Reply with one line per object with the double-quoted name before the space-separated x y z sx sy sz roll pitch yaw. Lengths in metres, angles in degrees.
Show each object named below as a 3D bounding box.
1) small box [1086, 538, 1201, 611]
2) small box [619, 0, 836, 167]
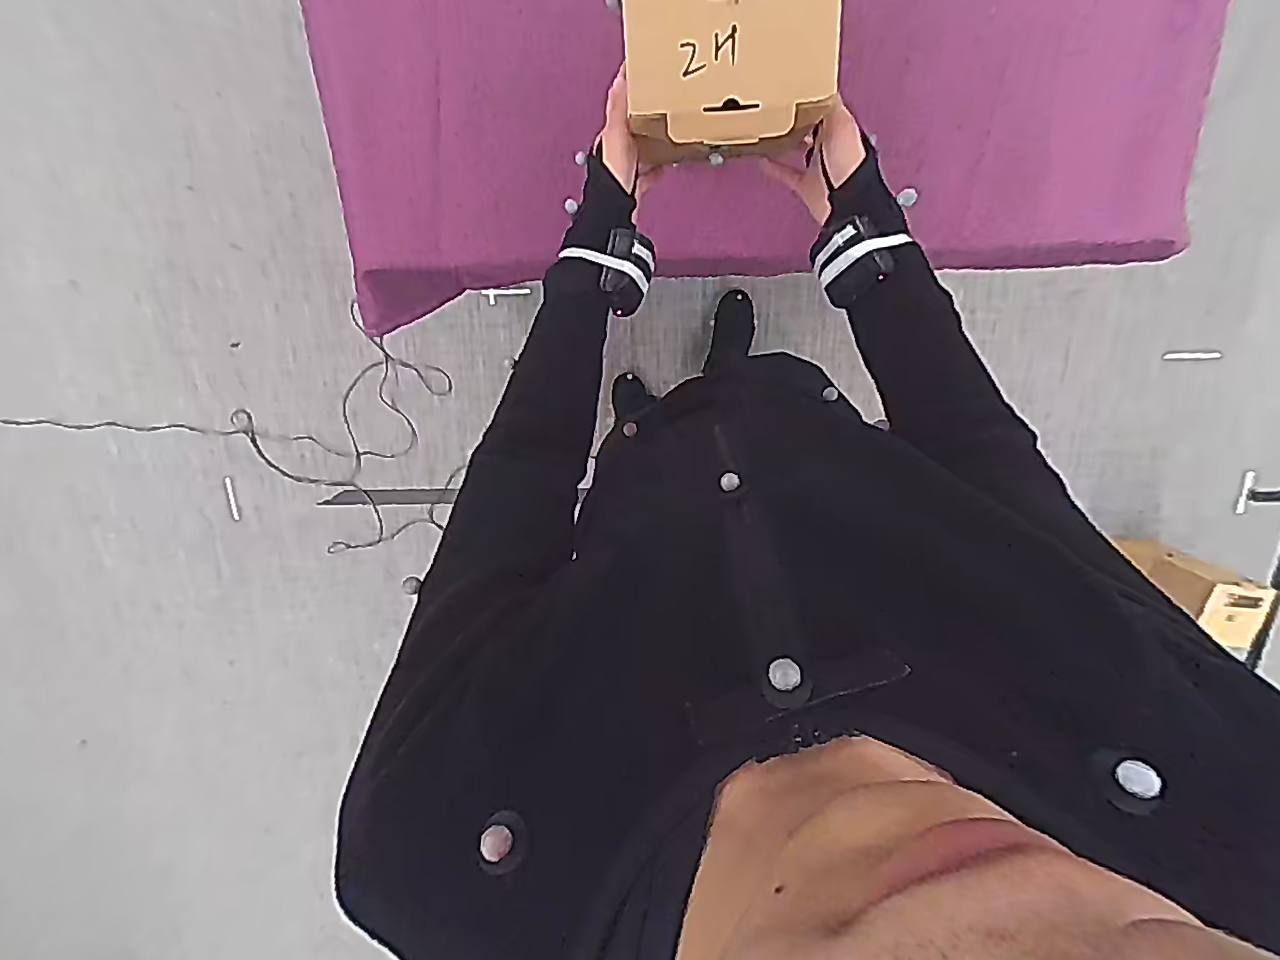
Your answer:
"small box" 1.528 0.284 1.653 0.179 0.176 0.168 2 107 -1
"small box" 0.067 -0.399 0.478 0.168 0.176 0.179 -2 108 3
